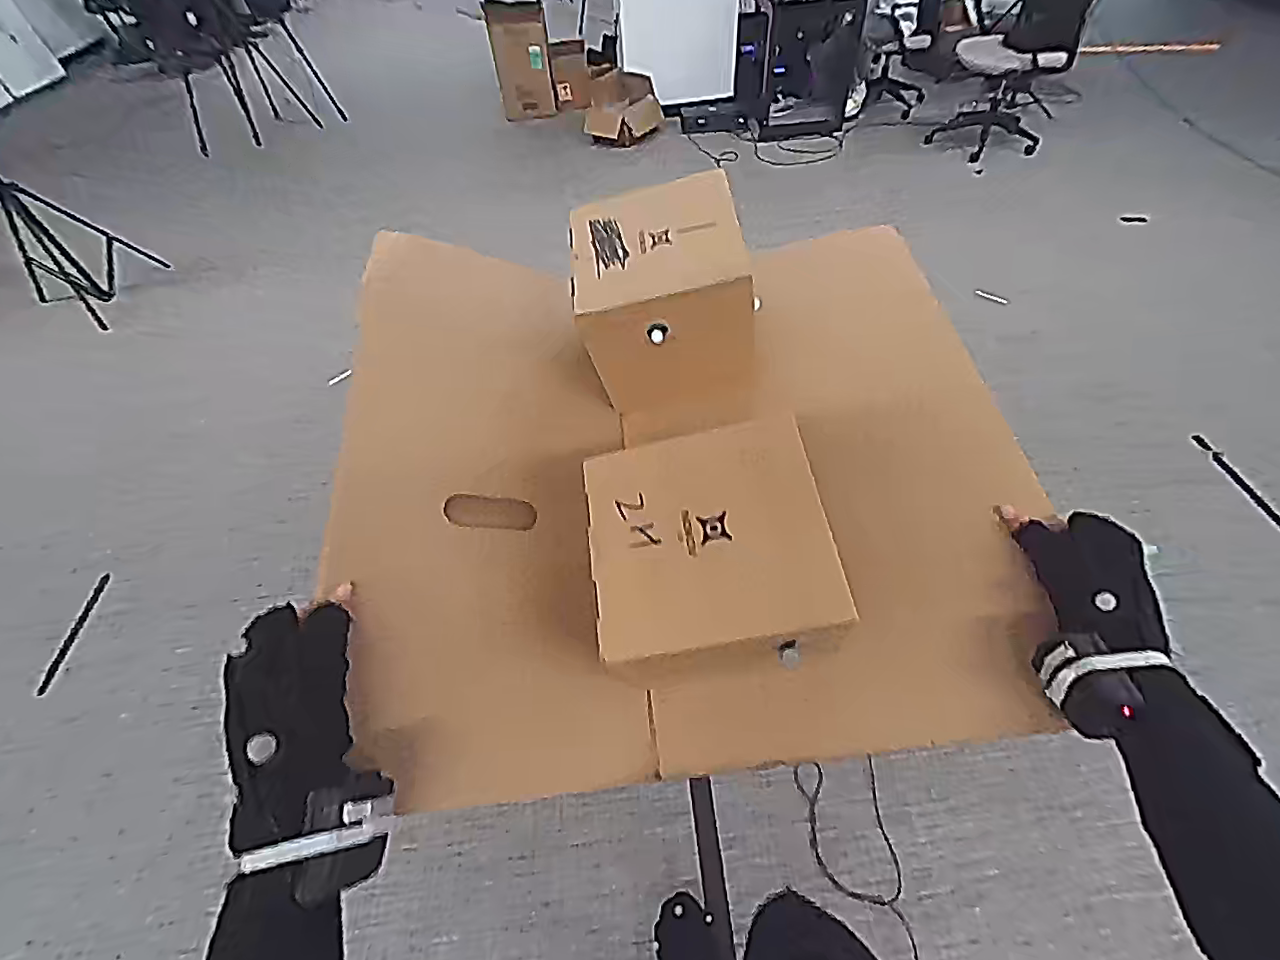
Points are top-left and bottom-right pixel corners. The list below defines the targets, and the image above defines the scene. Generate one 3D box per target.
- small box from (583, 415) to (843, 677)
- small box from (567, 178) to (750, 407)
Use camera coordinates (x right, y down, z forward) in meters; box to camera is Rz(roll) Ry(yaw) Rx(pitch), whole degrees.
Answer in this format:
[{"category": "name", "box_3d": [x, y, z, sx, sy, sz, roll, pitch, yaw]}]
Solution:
[{"category": "small box", "box_3d": [0.062, 0.070, 0.480, 0.179, 0.176, 0.168, -13, 61, 9]}, {"category": "small box", "box_3d": [0.025, -0.206, 0.631, 0.179, 0.176, 0.168, -11, 61, 8]}]
